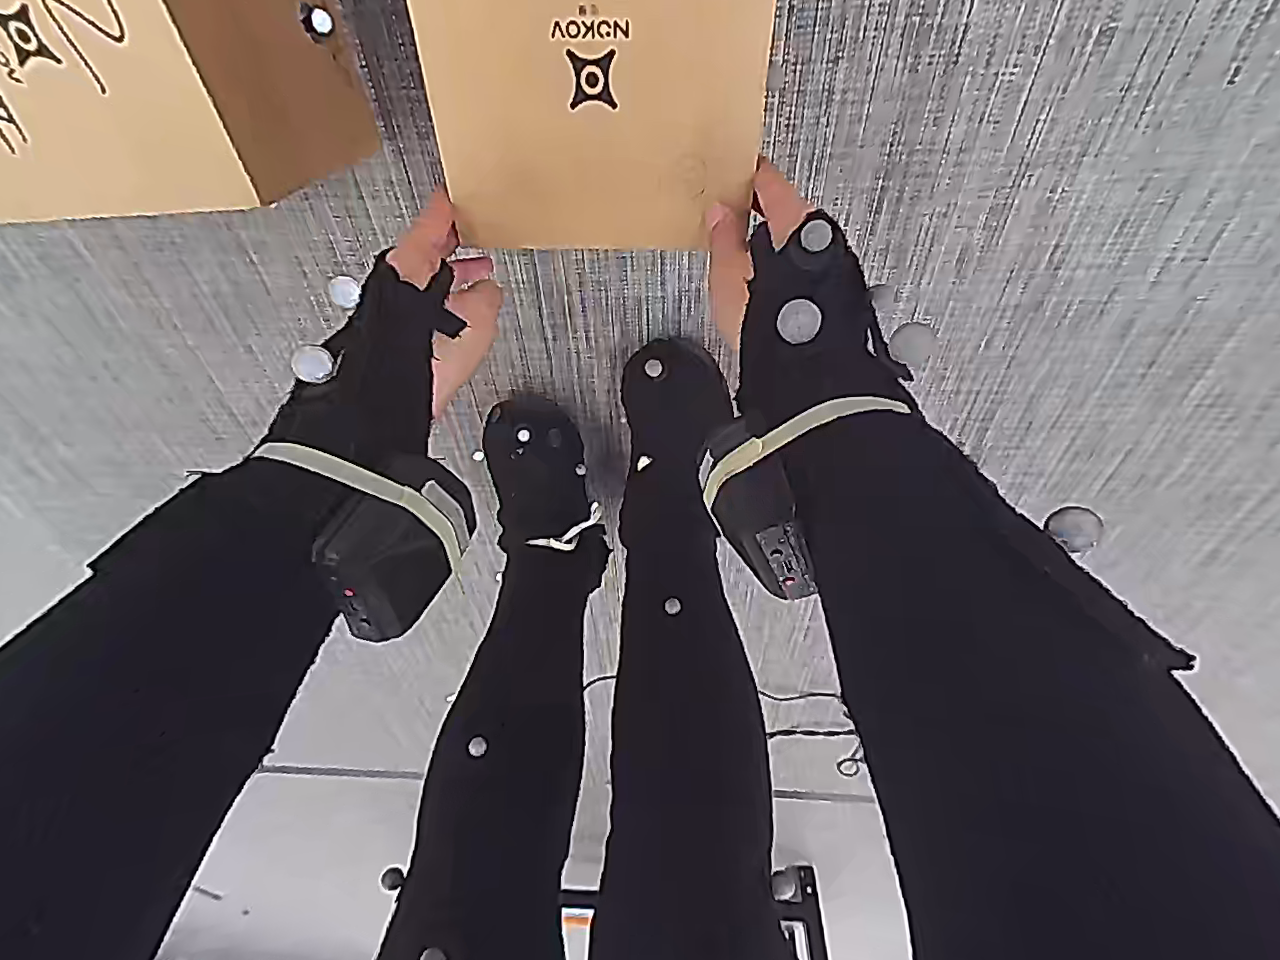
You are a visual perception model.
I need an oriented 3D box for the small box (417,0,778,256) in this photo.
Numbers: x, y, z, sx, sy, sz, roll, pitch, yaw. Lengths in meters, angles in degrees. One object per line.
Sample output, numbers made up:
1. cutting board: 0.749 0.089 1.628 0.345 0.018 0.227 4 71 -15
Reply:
1. small box: -0.017 -0.249 0.318 0.168 0.176 0.179 1 130 1
